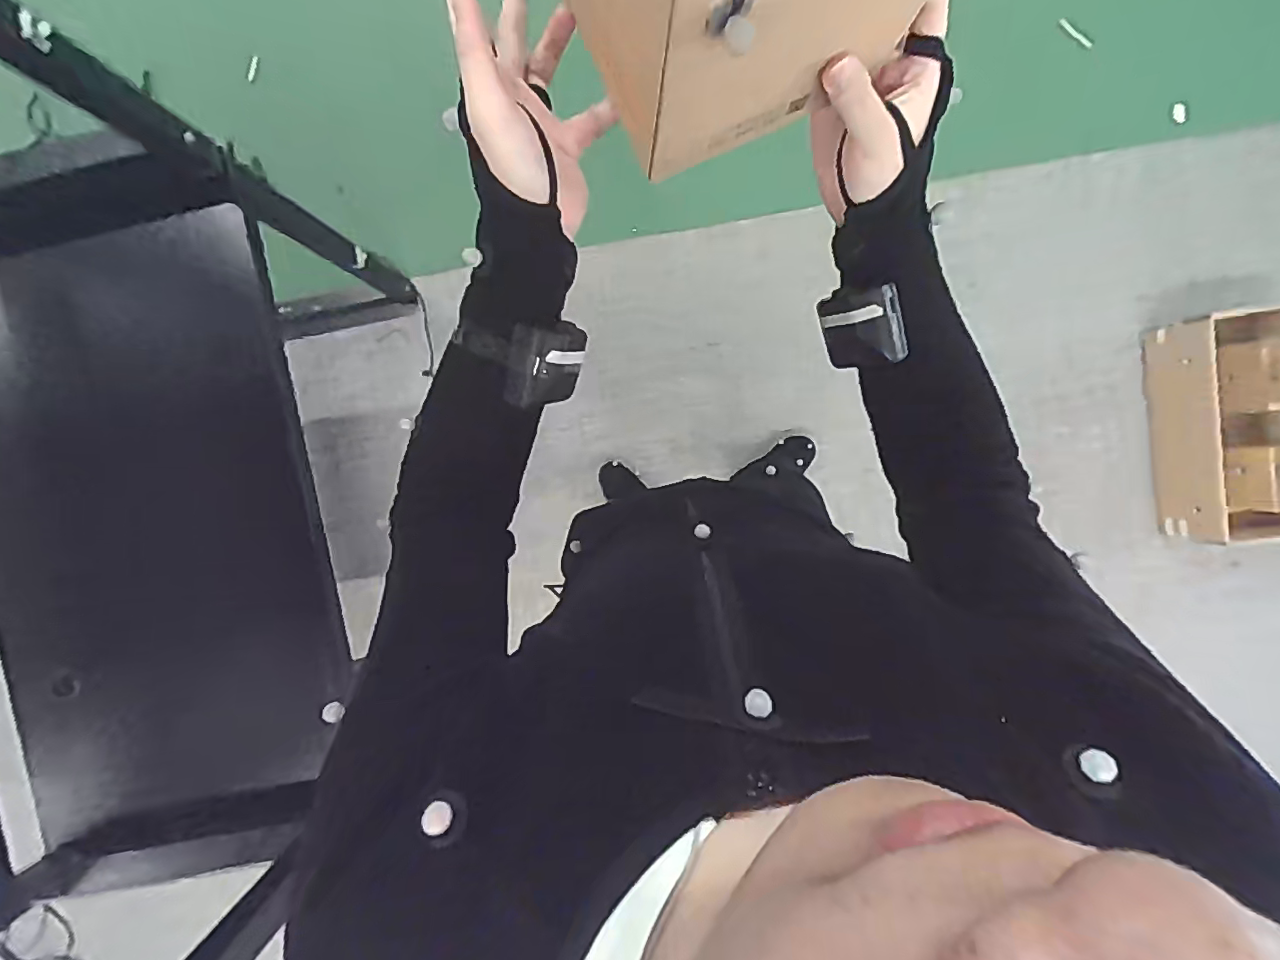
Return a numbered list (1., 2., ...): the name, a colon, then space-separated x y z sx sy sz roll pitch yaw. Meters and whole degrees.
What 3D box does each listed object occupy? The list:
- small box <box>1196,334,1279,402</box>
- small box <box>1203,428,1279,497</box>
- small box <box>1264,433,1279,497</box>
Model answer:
1. small box: 1.665 -0.309 1.462 0.179 0.176 0.168 -9 95 2
2. small box: 1.702 -0.049 1.478 0.179 0.176 0.168 -9 93 2
3. small box: 1.703 -0.044 1.315 0.179 0.176 0.168 -7 91 2
